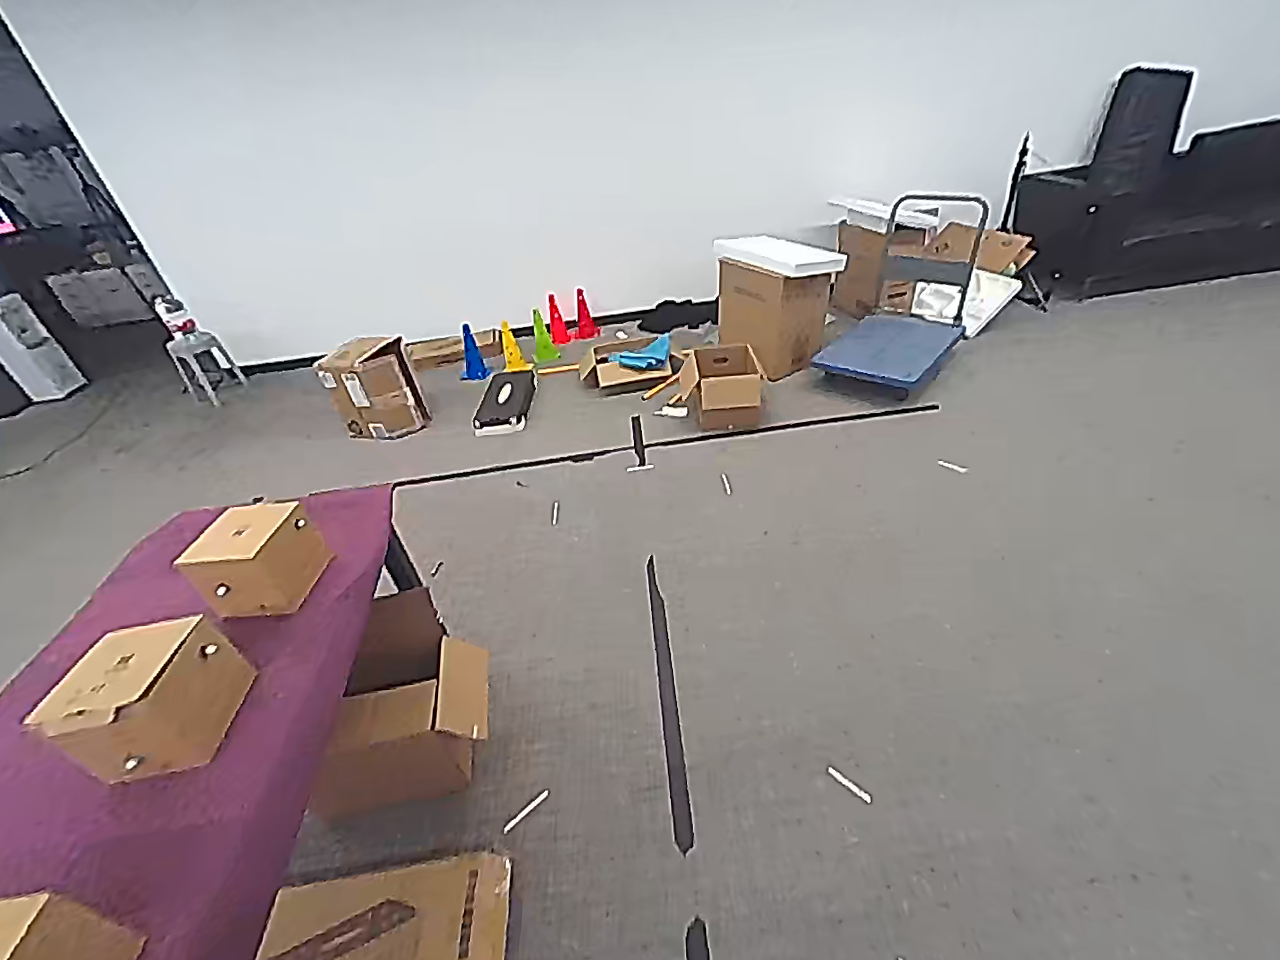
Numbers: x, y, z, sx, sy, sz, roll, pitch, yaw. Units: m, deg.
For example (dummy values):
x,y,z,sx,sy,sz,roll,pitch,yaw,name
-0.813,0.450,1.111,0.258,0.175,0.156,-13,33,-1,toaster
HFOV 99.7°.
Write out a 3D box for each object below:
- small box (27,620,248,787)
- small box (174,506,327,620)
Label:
x,y,z,sx,sy,sz,roll,pitch,yaw,name
-0.789,0.362,0.881,0.168,0.176,0.179,-11,35,0,small box
-0.803,0.179,1.142,0.168,0.176,0.179,-5,35,4,small box
